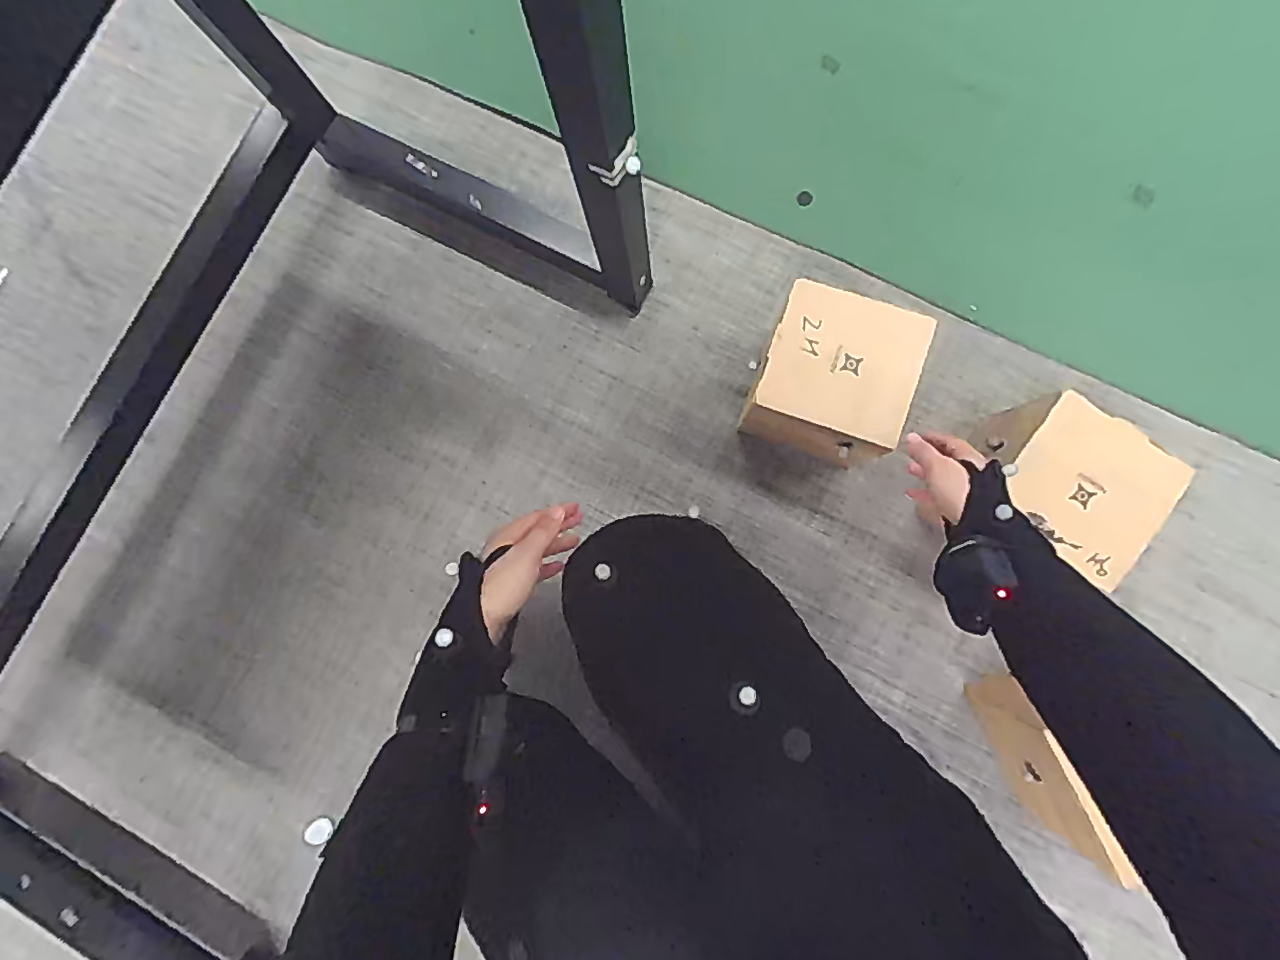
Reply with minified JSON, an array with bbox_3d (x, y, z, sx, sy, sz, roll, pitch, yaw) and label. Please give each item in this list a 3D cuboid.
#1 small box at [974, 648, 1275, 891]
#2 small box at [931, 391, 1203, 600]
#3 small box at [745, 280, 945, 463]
[{"bbox_3d":[0.550,0.325,0.645,0.168,0.176,0.179,-24,82,2],"label":"small box"},{"bbox_3d":[0.507,0.021,0.675,0.168,0.176,0.179,37,89,6],"label":"small box"},{"bbox_3d":[0.253,-0.128,0.709,0.179,0.176,0.168,20,86,6],"label":"small box"}]
